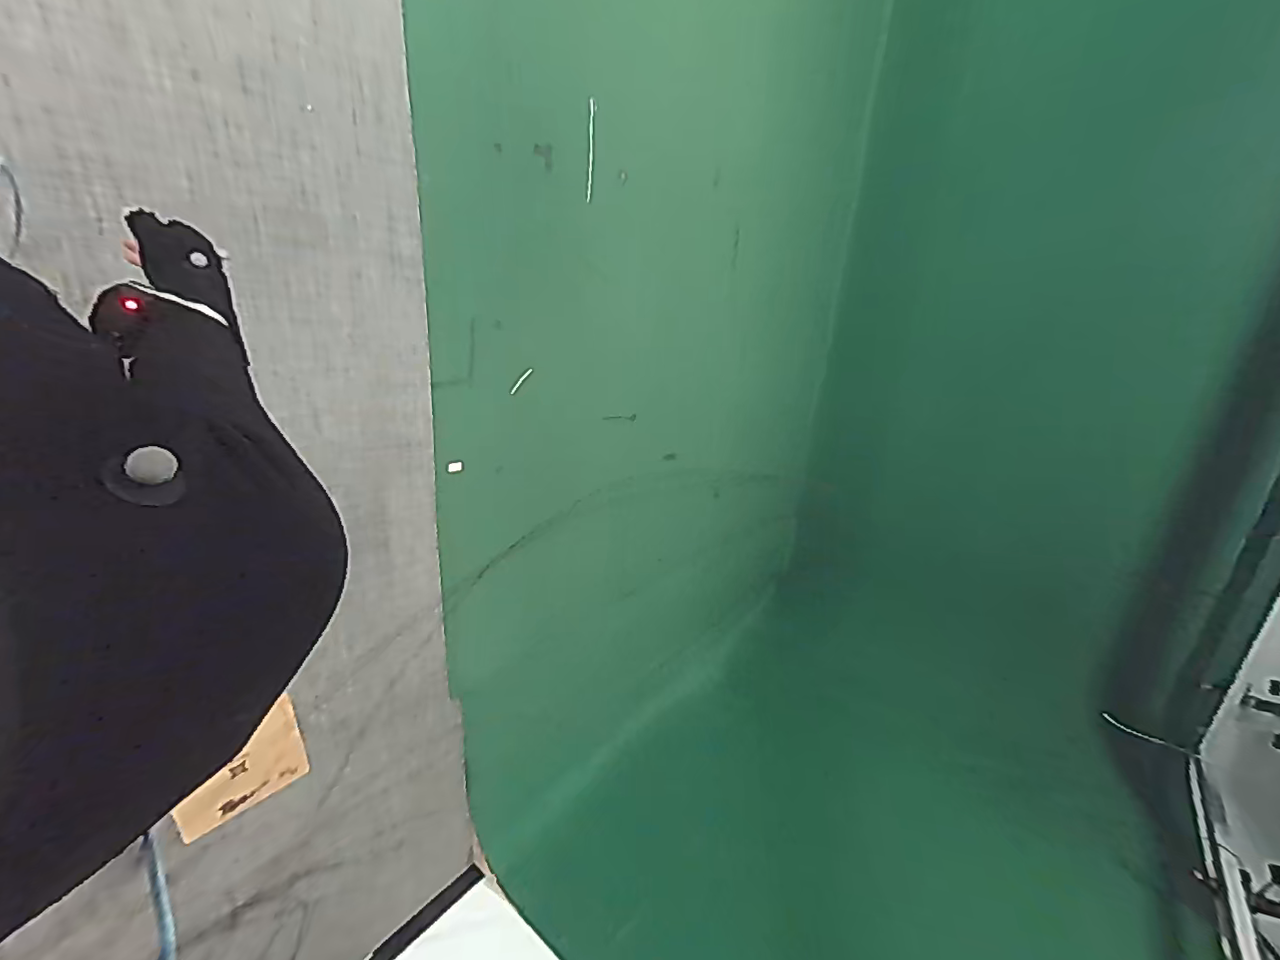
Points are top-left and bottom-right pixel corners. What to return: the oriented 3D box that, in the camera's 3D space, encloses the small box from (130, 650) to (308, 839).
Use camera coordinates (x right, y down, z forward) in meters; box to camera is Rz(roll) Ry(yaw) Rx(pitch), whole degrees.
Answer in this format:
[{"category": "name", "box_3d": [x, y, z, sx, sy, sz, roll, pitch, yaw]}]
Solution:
[{"category": "small box", "box_3d": [-0.651, 0.391, 0.840, 0.168, 0.176, 0.179, -22, 122, -44]}]
